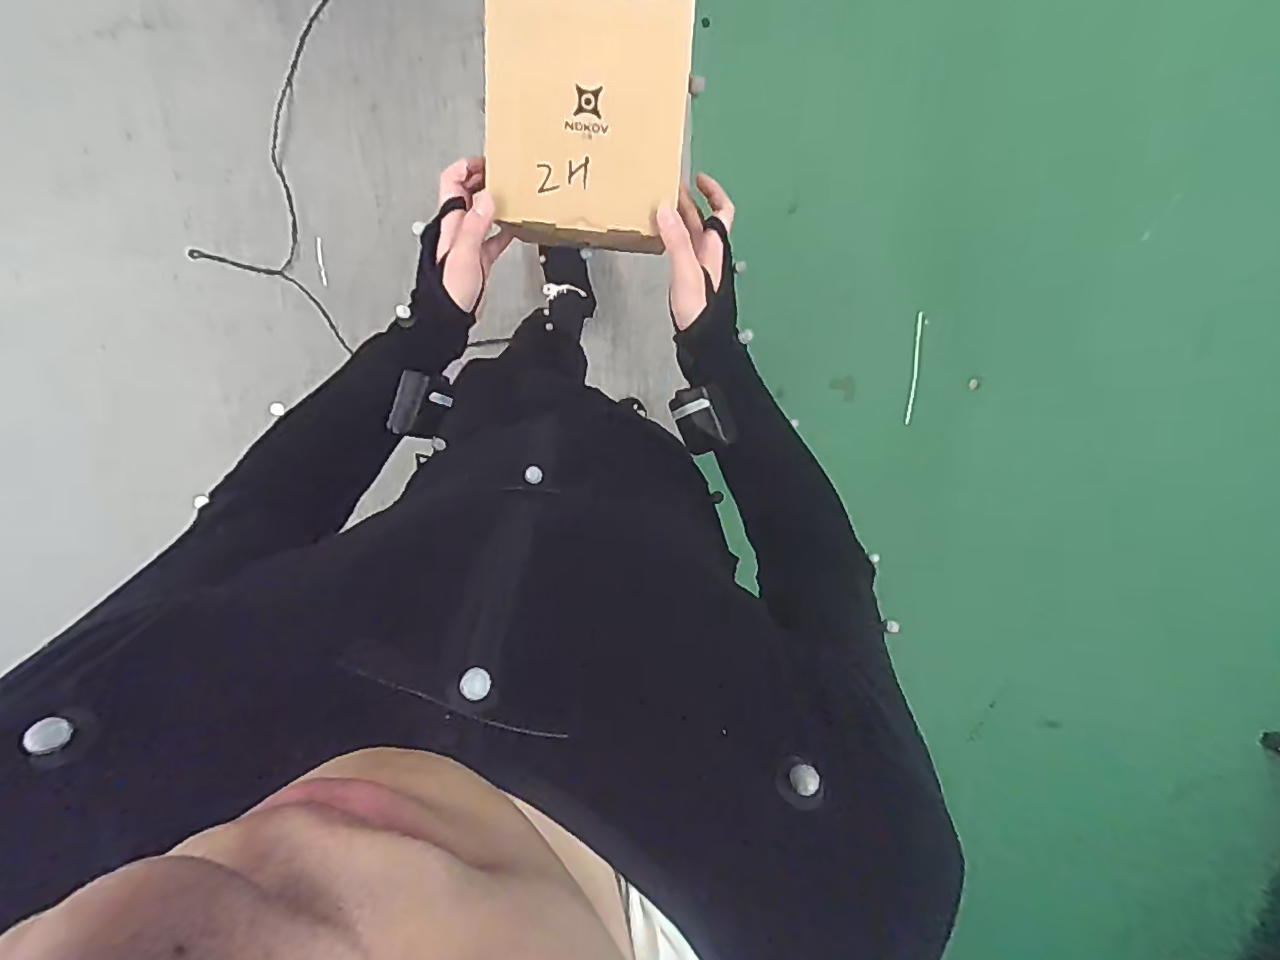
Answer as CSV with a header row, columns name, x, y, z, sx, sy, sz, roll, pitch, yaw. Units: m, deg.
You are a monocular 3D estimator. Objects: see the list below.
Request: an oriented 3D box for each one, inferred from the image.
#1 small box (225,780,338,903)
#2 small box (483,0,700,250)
name,x,y,z,sx,sy,sz,roll,pitch,yaw
small box,-0.853,0.866,1.303,0.168,0.176,0.179,5,103,-3
small box,-0.045,-0.330,0.513,0.168,0.176,0.179,5,107,-3
